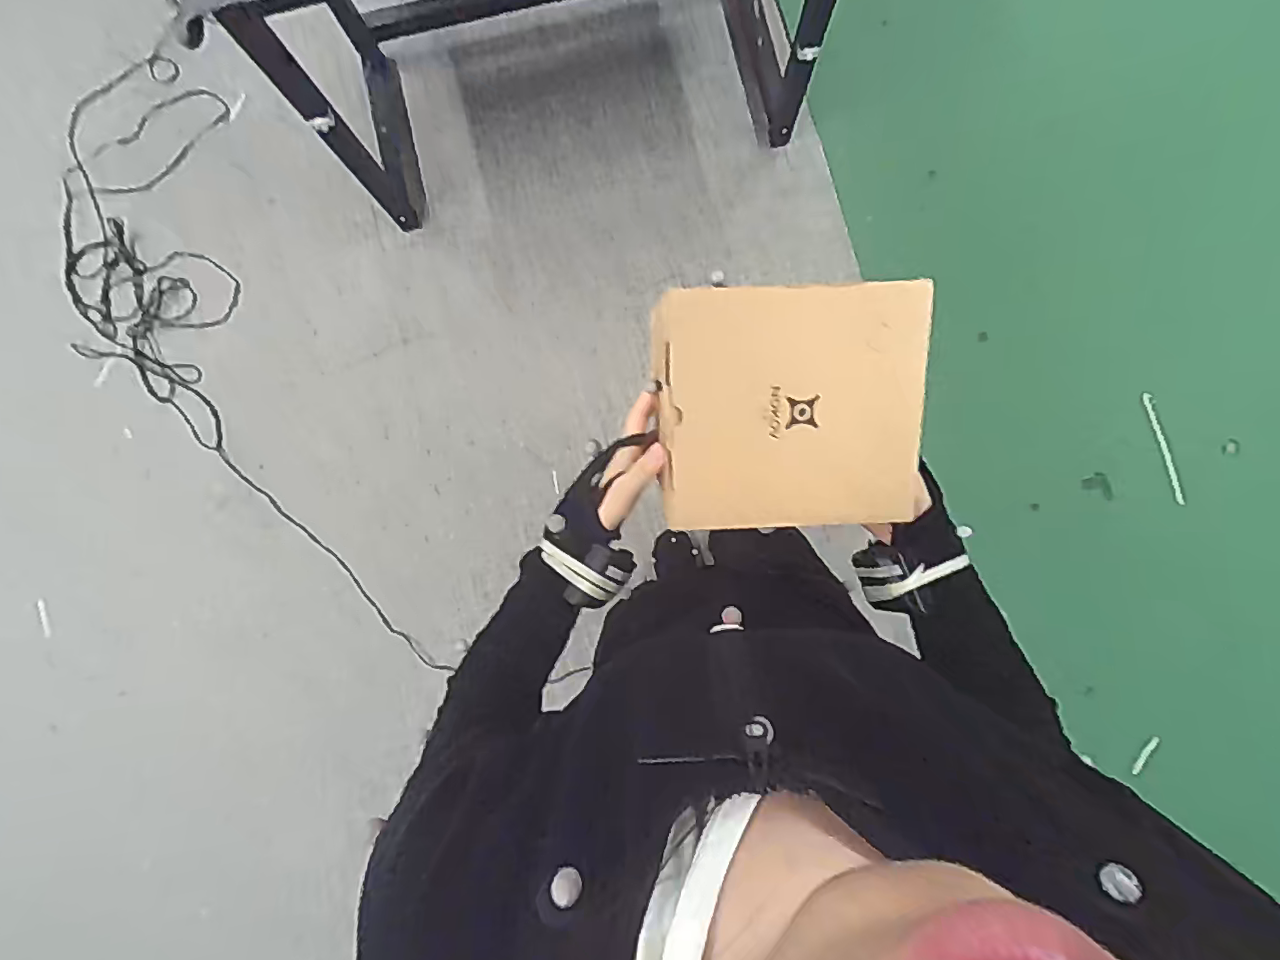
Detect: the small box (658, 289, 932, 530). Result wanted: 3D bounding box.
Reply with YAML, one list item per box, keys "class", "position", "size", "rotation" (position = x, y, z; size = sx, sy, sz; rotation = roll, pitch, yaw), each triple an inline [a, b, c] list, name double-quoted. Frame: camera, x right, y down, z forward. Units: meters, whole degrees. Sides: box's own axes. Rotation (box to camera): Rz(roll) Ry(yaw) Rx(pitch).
- class: "small box"
  position: [0.109, -0.066, 0.453]
  size: [0.179, 0.176, 0.168]
  rotation: [-3, 104, 0]
